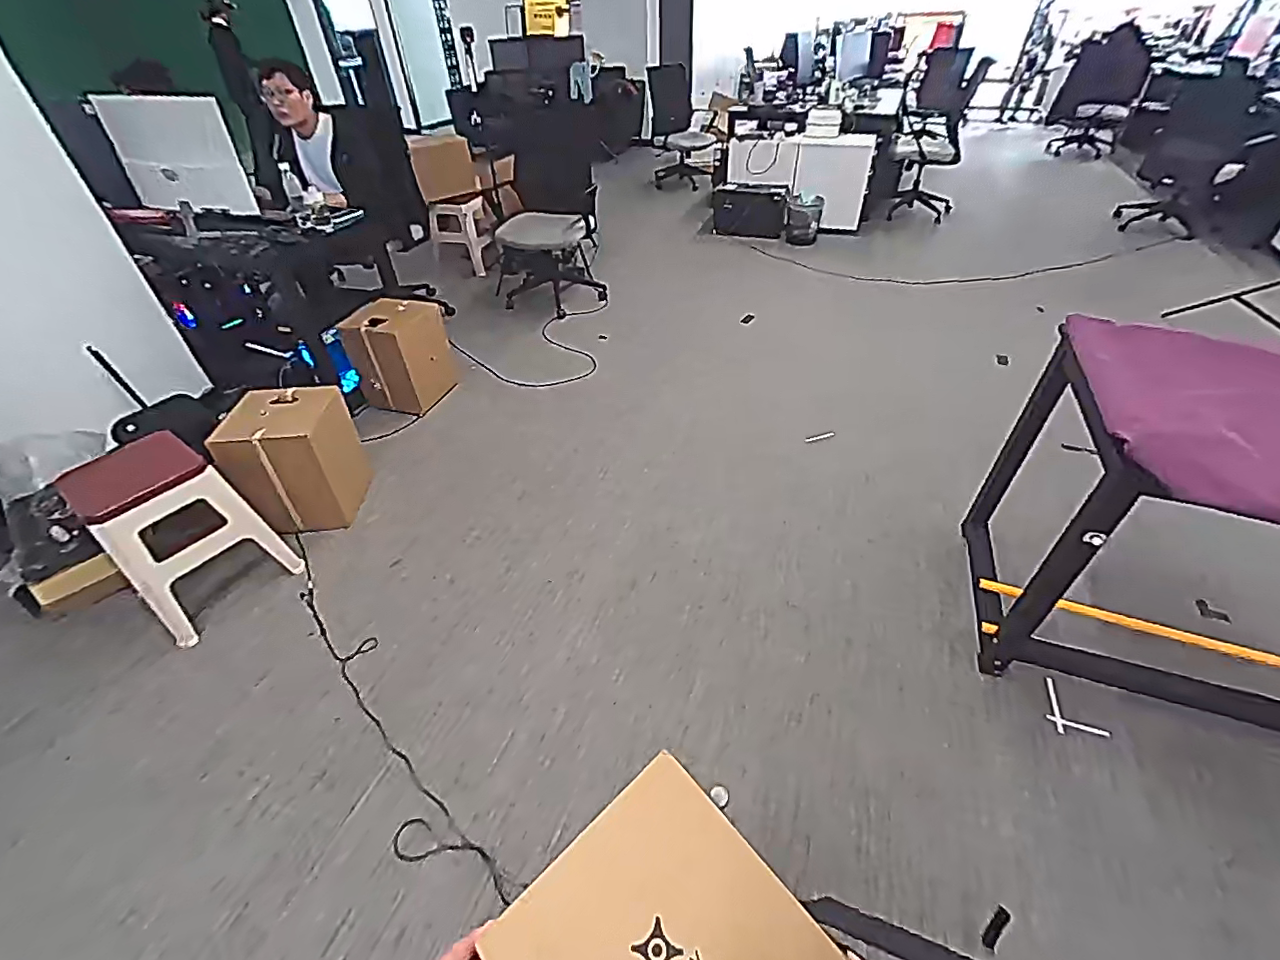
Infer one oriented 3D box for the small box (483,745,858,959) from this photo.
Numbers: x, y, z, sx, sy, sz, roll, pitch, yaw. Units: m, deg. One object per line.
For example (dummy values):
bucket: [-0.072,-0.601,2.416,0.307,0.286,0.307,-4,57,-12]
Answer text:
small box: [0.025,0.328,0.376,0.168,0.176,0.179,-38,58,-20]
